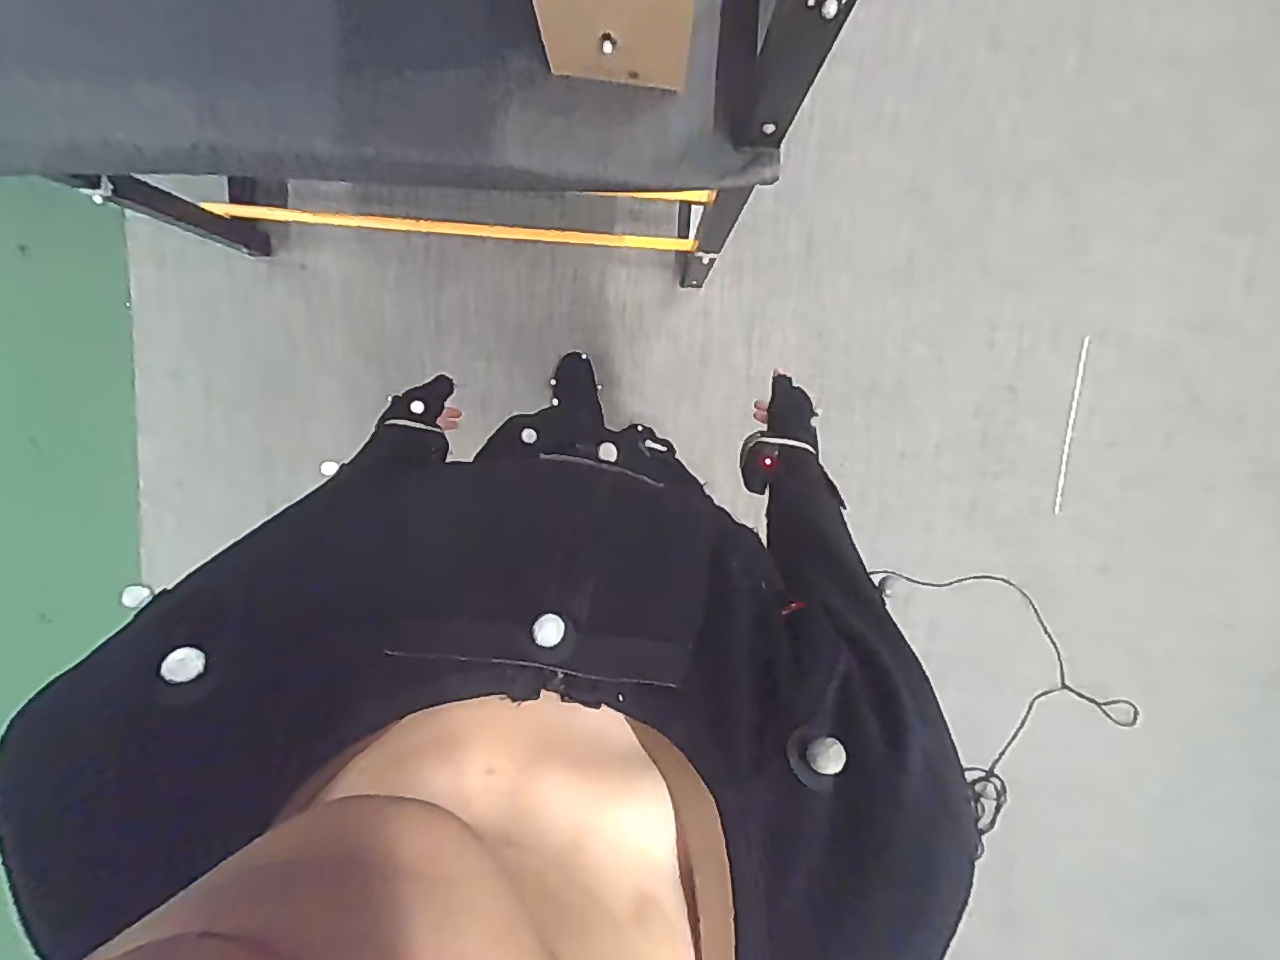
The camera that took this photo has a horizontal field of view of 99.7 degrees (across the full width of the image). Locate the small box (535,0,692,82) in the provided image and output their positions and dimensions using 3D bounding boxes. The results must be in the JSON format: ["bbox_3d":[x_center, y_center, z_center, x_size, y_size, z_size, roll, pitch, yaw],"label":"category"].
[{"bbox_3d":[-0.020,-0.574,0.581,0.168,0.176,0.179,7,97,-2],"label":"small box"}]
